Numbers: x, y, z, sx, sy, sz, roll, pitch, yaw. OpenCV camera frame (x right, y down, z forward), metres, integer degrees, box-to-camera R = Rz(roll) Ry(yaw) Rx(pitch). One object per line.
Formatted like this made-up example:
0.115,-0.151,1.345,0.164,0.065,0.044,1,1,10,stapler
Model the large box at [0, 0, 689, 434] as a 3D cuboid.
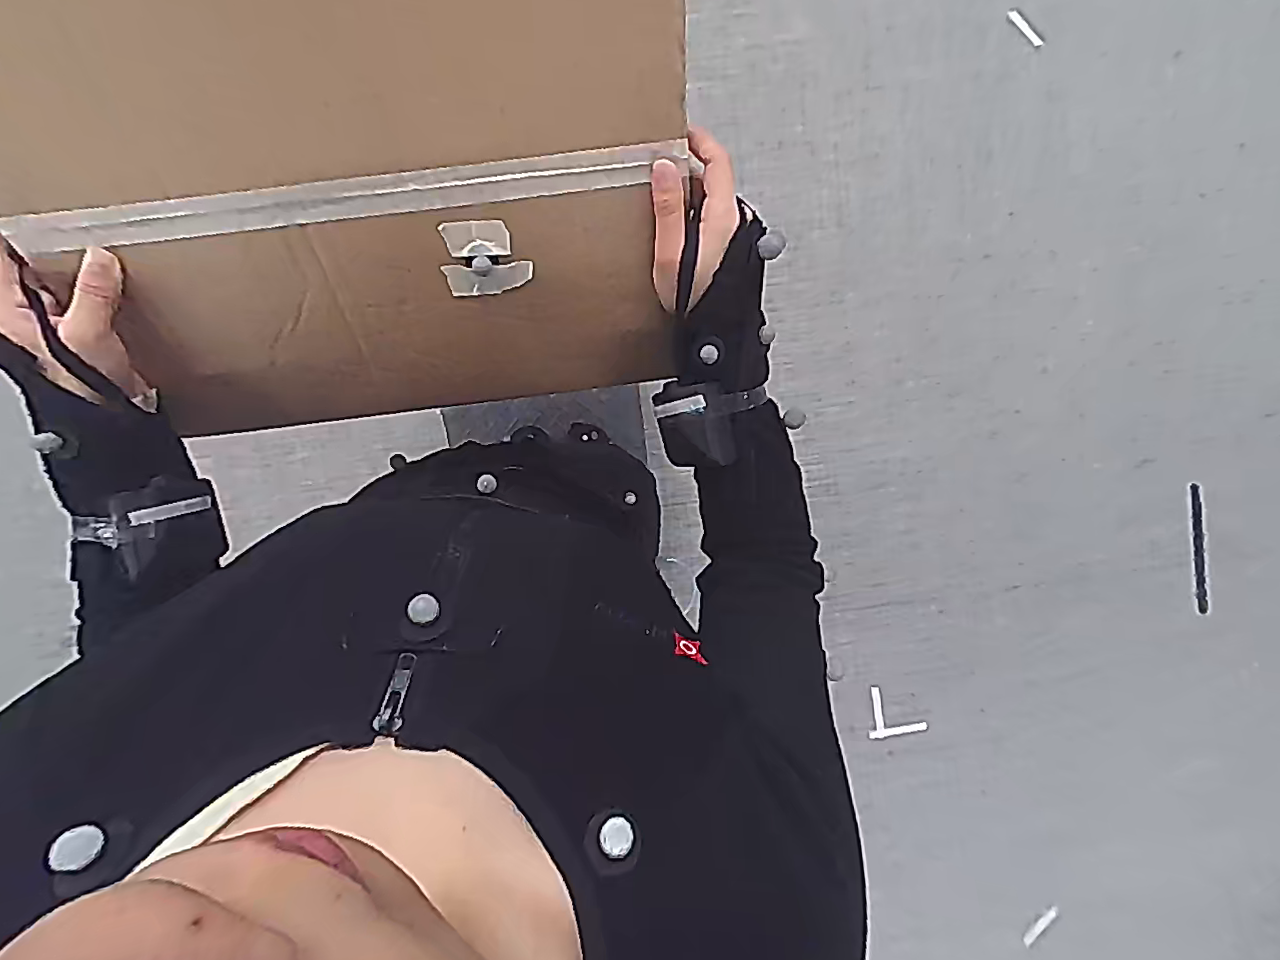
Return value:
-0.190,-0.276,0.444,0.408,0.320,0.320,-9,134,-3,large box
